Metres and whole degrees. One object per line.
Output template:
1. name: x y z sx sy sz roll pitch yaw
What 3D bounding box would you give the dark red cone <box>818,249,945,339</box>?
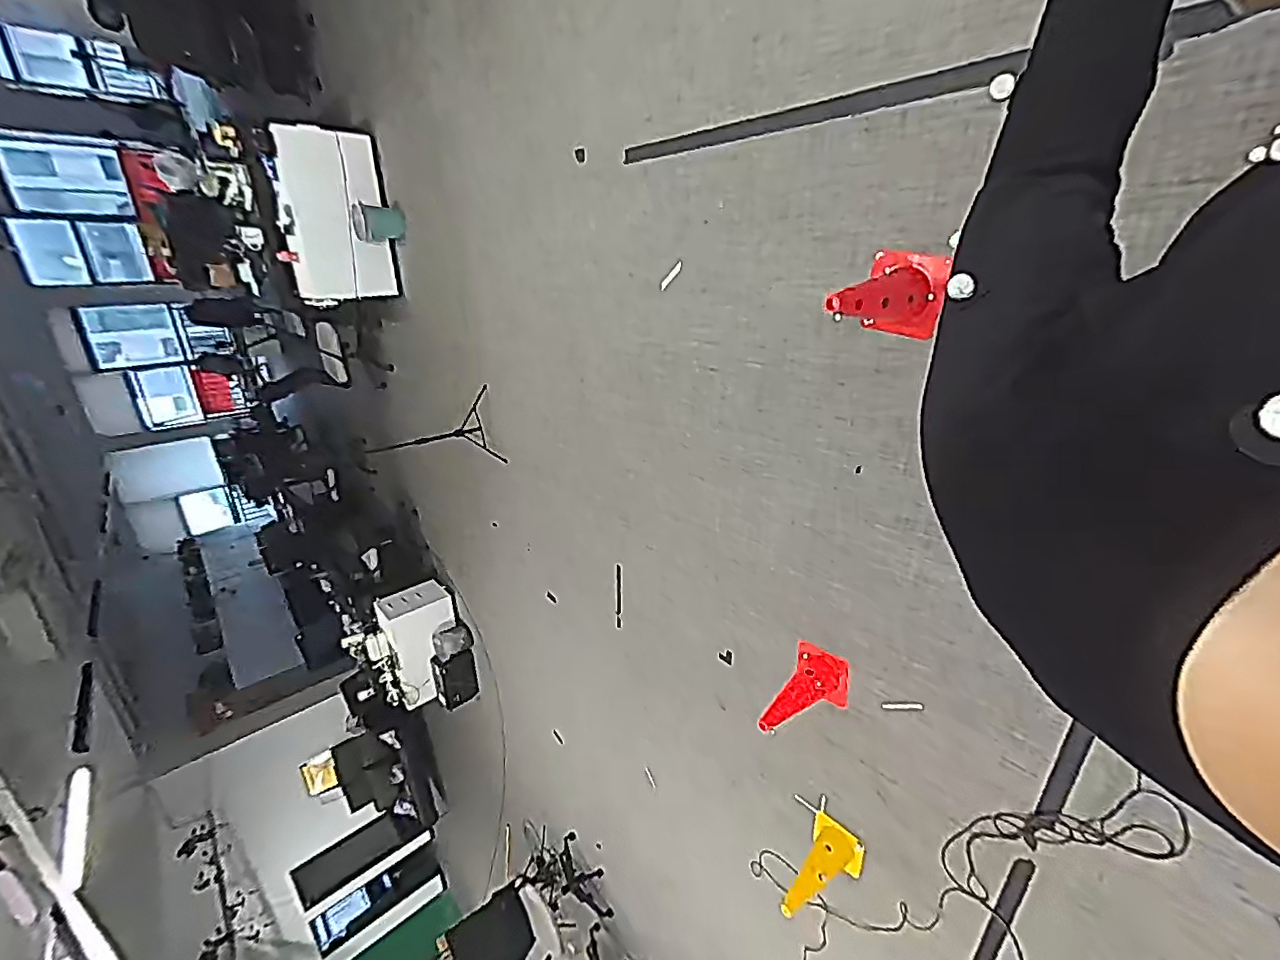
1. dark red cone: 0.537 -0.433 1.277 0.201 0.394 0.202 28 126 40

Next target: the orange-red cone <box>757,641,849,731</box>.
1. orange-red cone: 0.524 0.741 1.837 0.198 0.360 0.199 20 122 46
